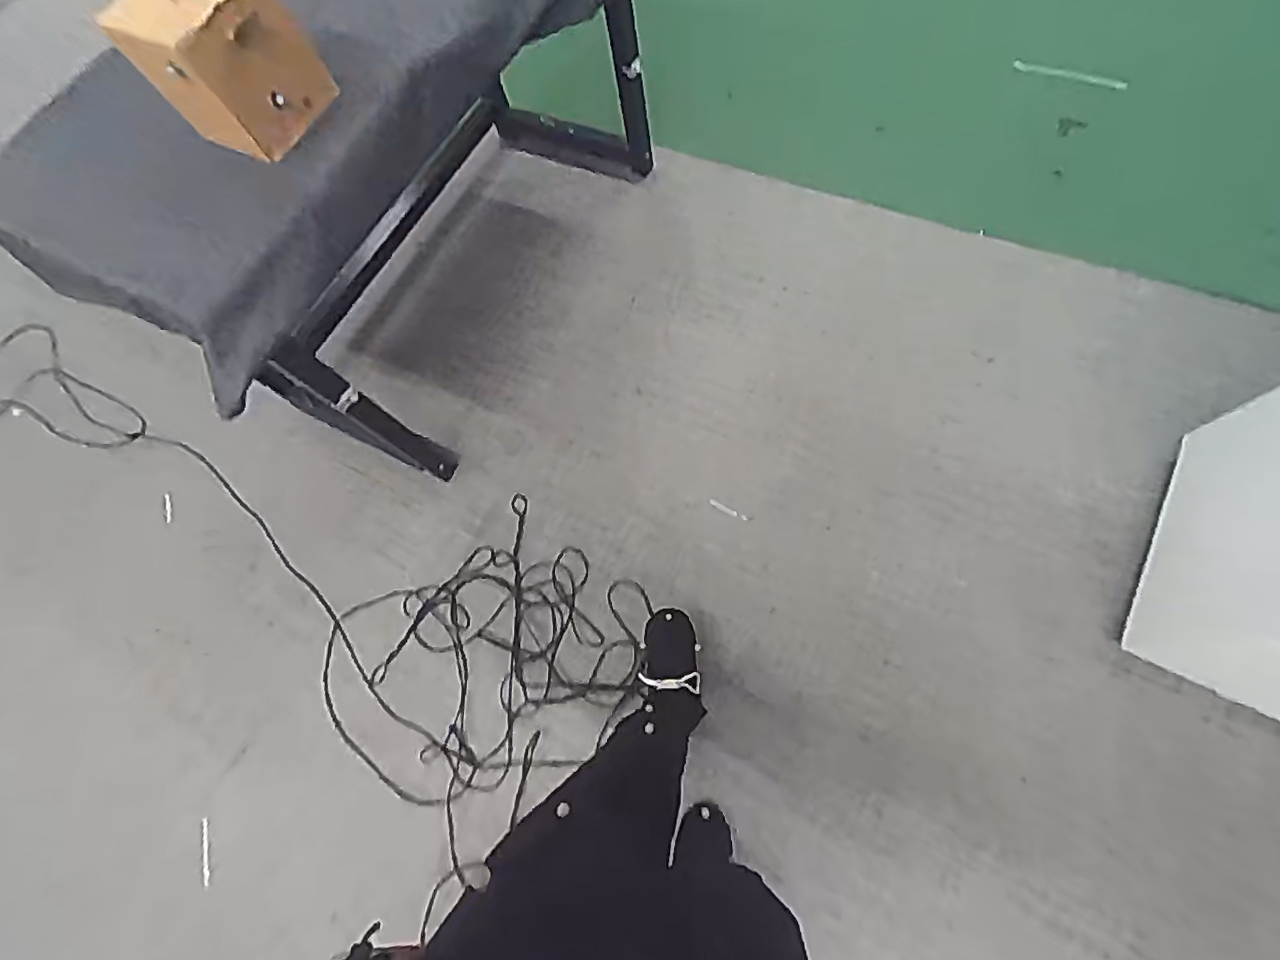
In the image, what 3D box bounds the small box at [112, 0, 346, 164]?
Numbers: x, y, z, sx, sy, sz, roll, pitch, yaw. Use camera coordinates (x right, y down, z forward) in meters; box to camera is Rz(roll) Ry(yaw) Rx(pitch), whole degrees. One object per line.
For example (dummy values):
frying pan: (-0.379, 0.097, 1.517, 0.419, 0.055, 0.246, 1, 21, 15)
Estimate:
small box: (-0.588, -0.606, 0.798, 0.179, 0.176, 0.168, 26, 75, 16)
